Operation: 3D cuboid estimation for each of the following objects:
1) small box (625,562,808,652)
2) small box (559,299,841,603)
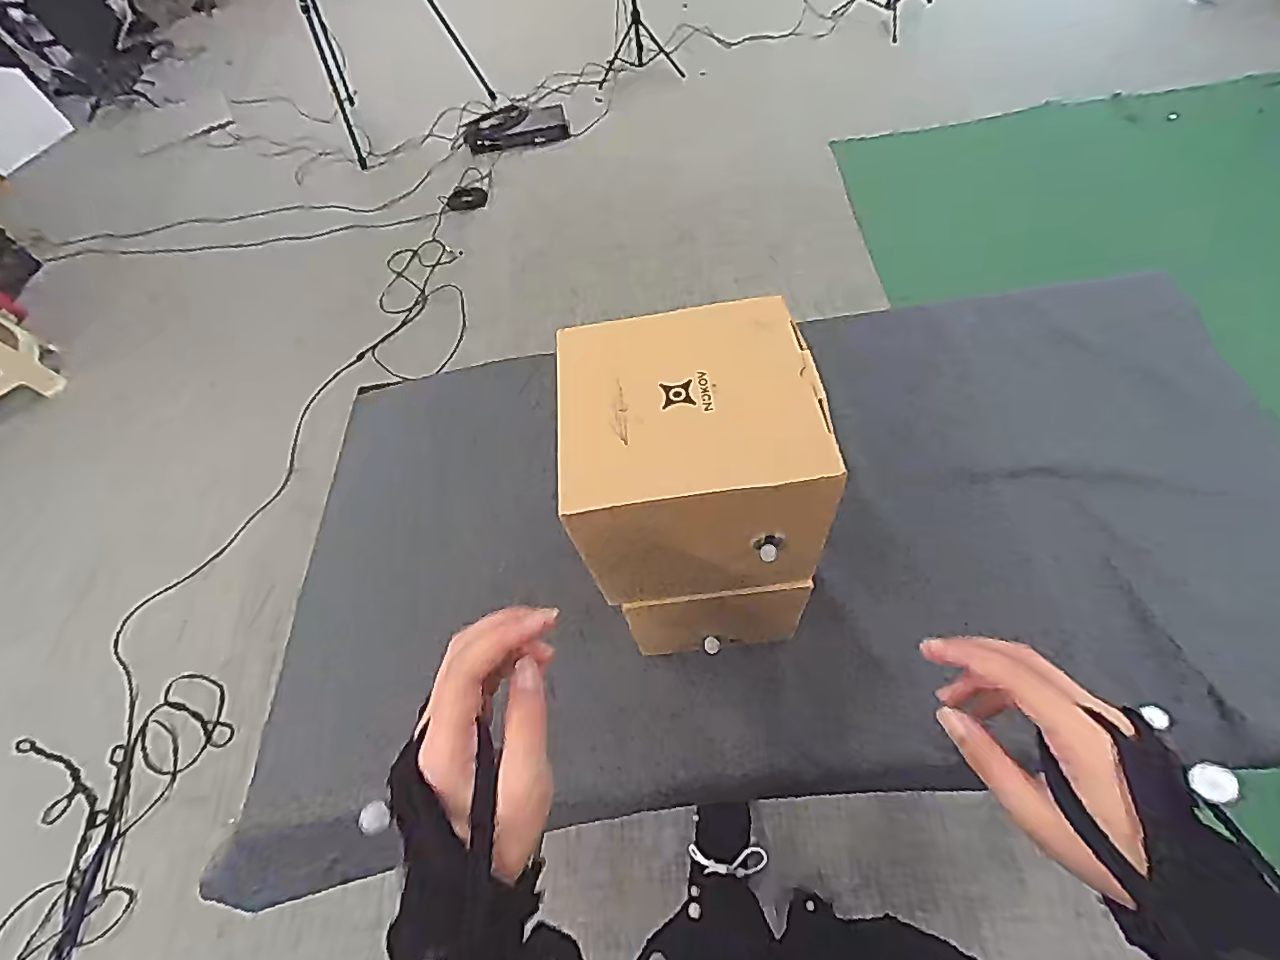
[{"bbox_3d":[0.067,0.069,0.576,0.168,0.176,0.179,-7,58,4],"label":"small box"},{"bbox_3d":[0.040,-0.014,0.438,0.179,0.176,0.168,-9,56,4],"label":"small box"}]
